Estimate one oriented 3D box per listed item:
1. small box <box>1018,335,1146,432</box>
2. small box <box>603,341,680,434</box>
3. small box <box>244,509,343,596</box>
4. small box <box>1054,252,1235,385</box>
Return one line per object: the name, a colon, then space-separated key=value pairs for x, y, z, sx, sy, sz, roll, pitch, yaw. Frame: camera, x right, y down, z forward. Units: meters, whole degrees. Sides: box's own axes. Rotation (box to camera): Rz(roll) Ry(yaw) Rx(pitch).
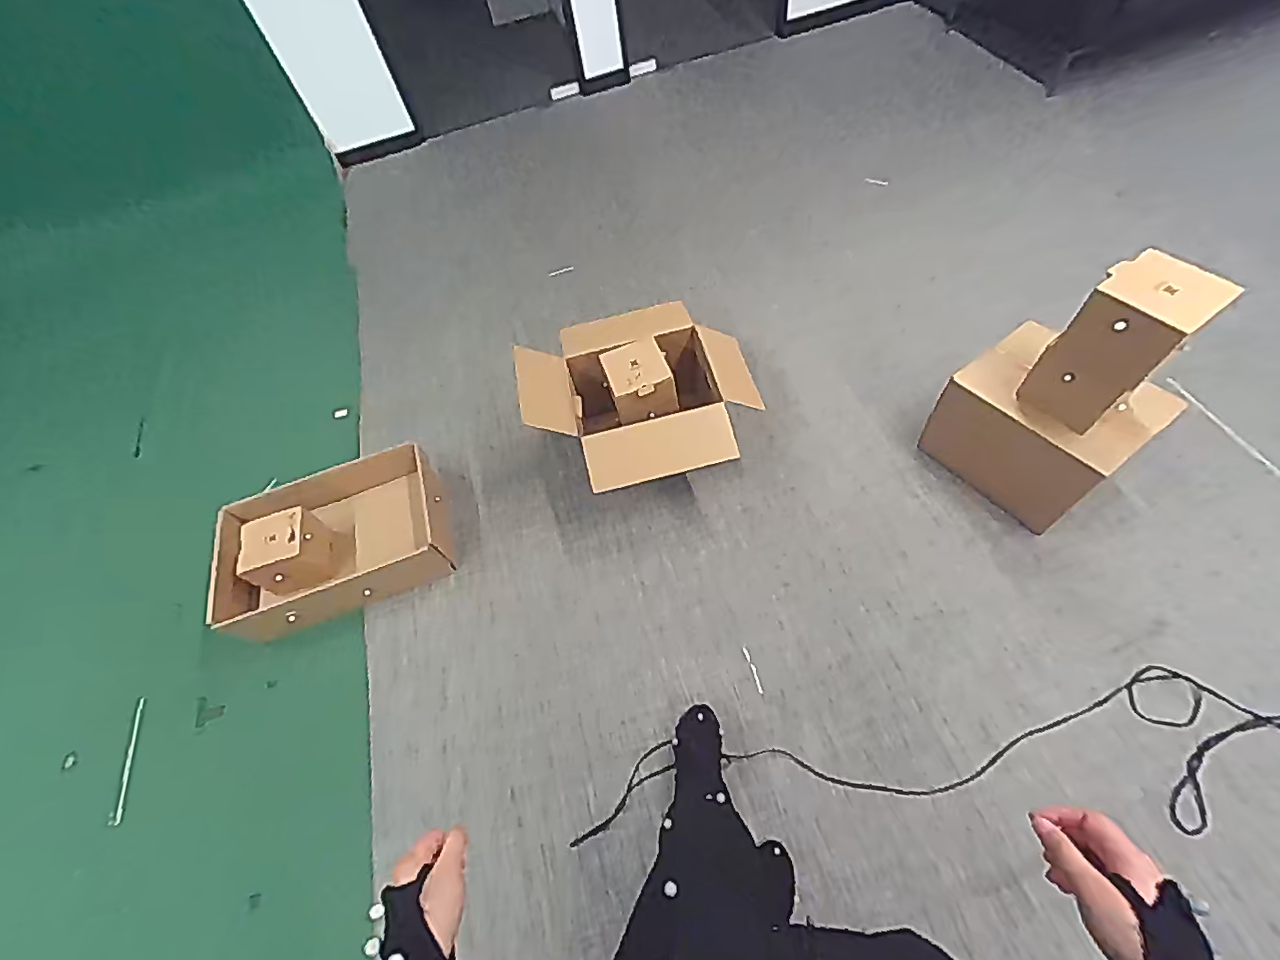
small box: x=1.029 y=-0.244 z=1.247 sx=0.168 sy=0.176 sz=0.179 roll=-35 pitch=60 yaw=-11
small box: x=0.007 y=-0.264 z=1.563 sx=0.168 sy=0.176 sz=0.179 roll=-21 pitch=57 yaw=-1
small box: x=-1.007 y=0.217 z=1.583 sx=0.179 sy=0.176 sz=0.168 roll=-19 pitch=56 yaw=-4
small box: x=1.012 y=-0.320 z=1.103 sx=0.168 sy=0.176 sz=0.179 roll=-34 pitch=59 yaw=-11
